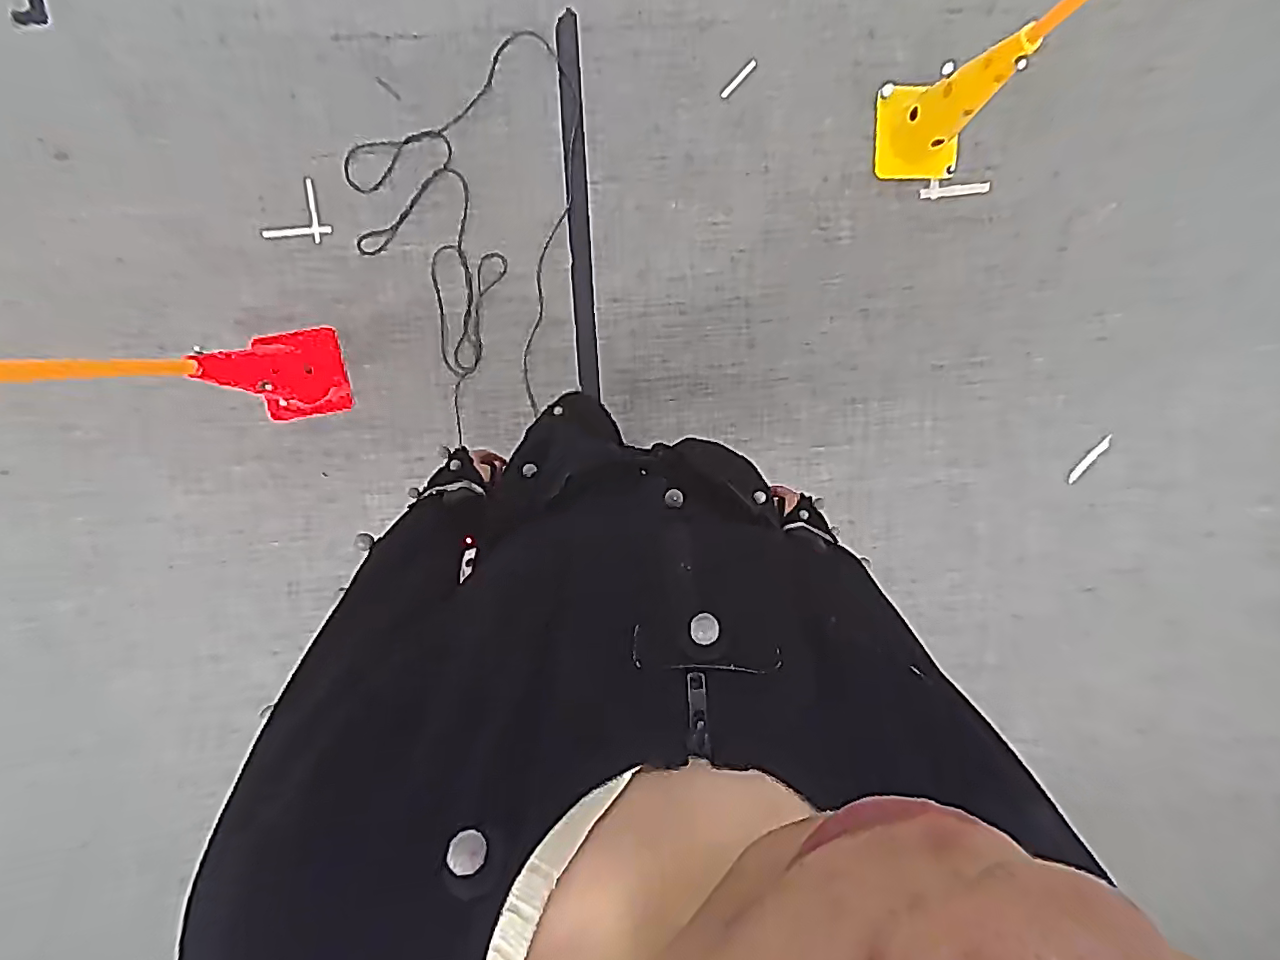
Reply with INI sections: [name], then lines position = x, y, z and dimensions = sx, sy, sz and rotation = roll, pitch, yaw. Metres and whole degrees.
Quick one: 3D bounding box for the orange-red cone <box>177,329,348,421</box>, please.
[orange-red cone]
position = -0.786, -0.219, 1.098
dimensions = 0.199, 0.360, 0.198
rotation = -9, 100, -3
